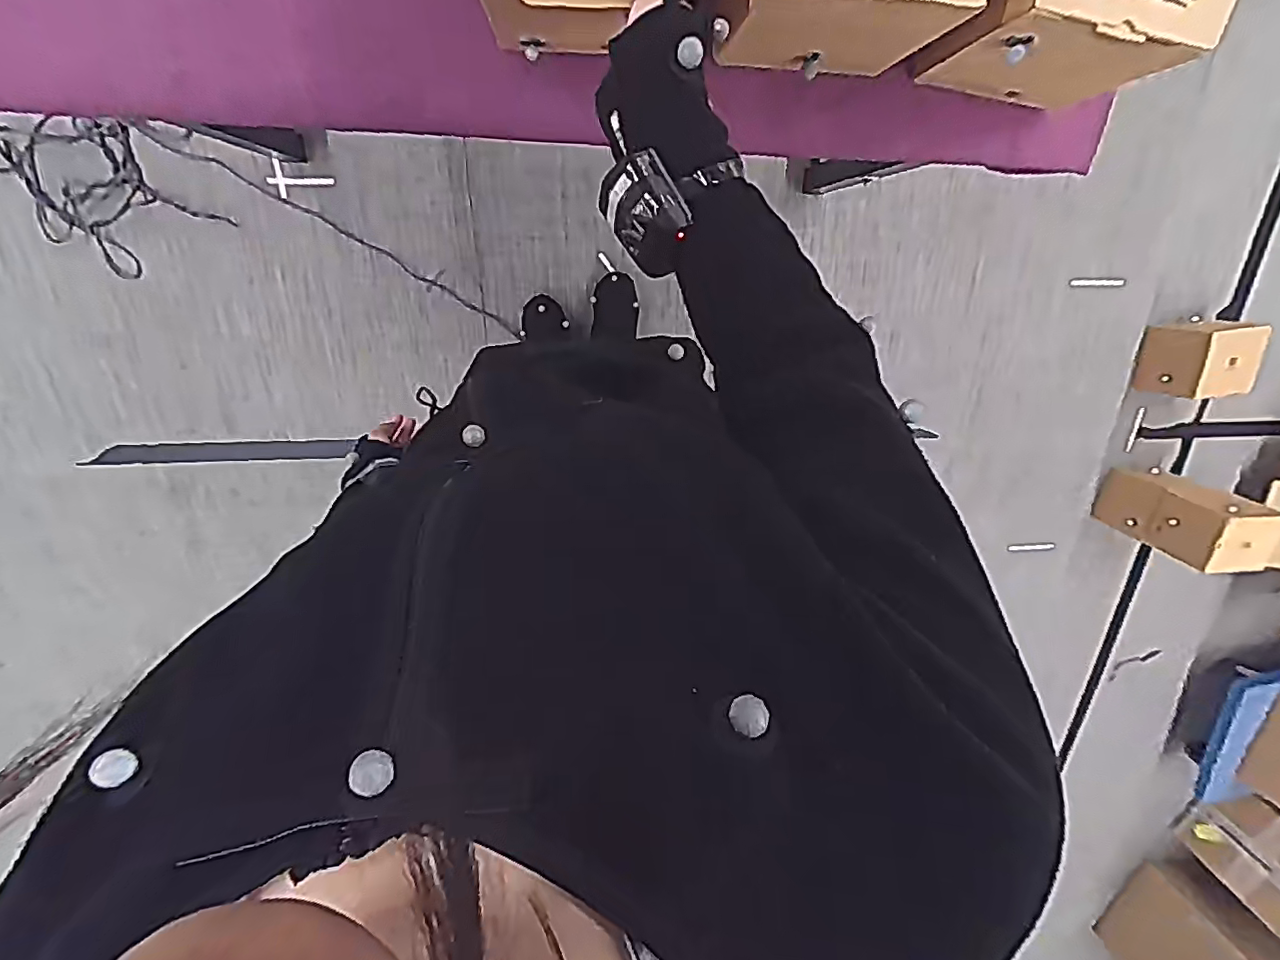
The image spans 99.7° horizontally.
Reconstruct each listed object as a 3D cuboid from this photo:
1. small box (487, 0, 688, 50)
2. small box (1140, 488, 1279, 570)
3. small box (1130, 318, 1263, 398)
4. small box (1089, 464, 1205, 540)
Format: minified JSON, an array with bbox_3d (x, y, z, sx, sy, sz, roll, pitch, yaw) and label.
[{"bbox_3d":[-0.041,-0.459,0.413,0.168,0.176,0.179,-3,114,-7],"label":"small box"},{"bbox_3d":[1.547,0.127,1.480,0.179,0.176,0.168,-2,114,-6],"label":"small box"},{"bbox_3d":[1.487,-0.333,1.459,0.168,0.176,0.179,-8,112,-5],"label":"small box"},{"bbox_3d":[1.515,0.065,1.627,0.168,0.176,0.179,1,113,-8],"label":"small box"}]
